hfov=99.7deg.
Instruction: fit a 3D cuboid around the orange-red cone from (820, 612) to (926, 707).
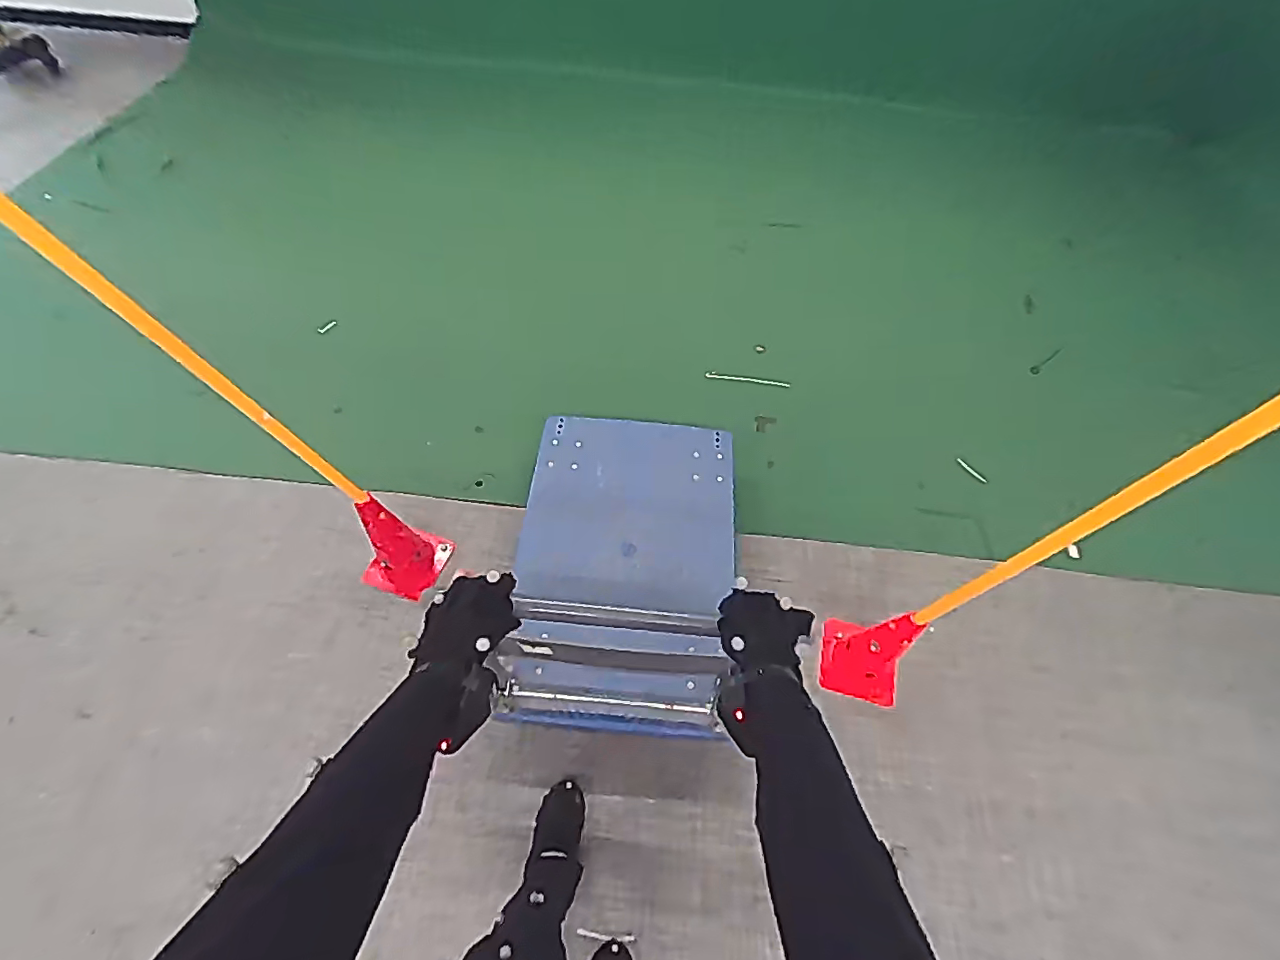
[{"bbox_3d":[0.598,0.399,1.316,0.198,0.360,0.199,15,59,8],"label":"orange-red cone"}]
